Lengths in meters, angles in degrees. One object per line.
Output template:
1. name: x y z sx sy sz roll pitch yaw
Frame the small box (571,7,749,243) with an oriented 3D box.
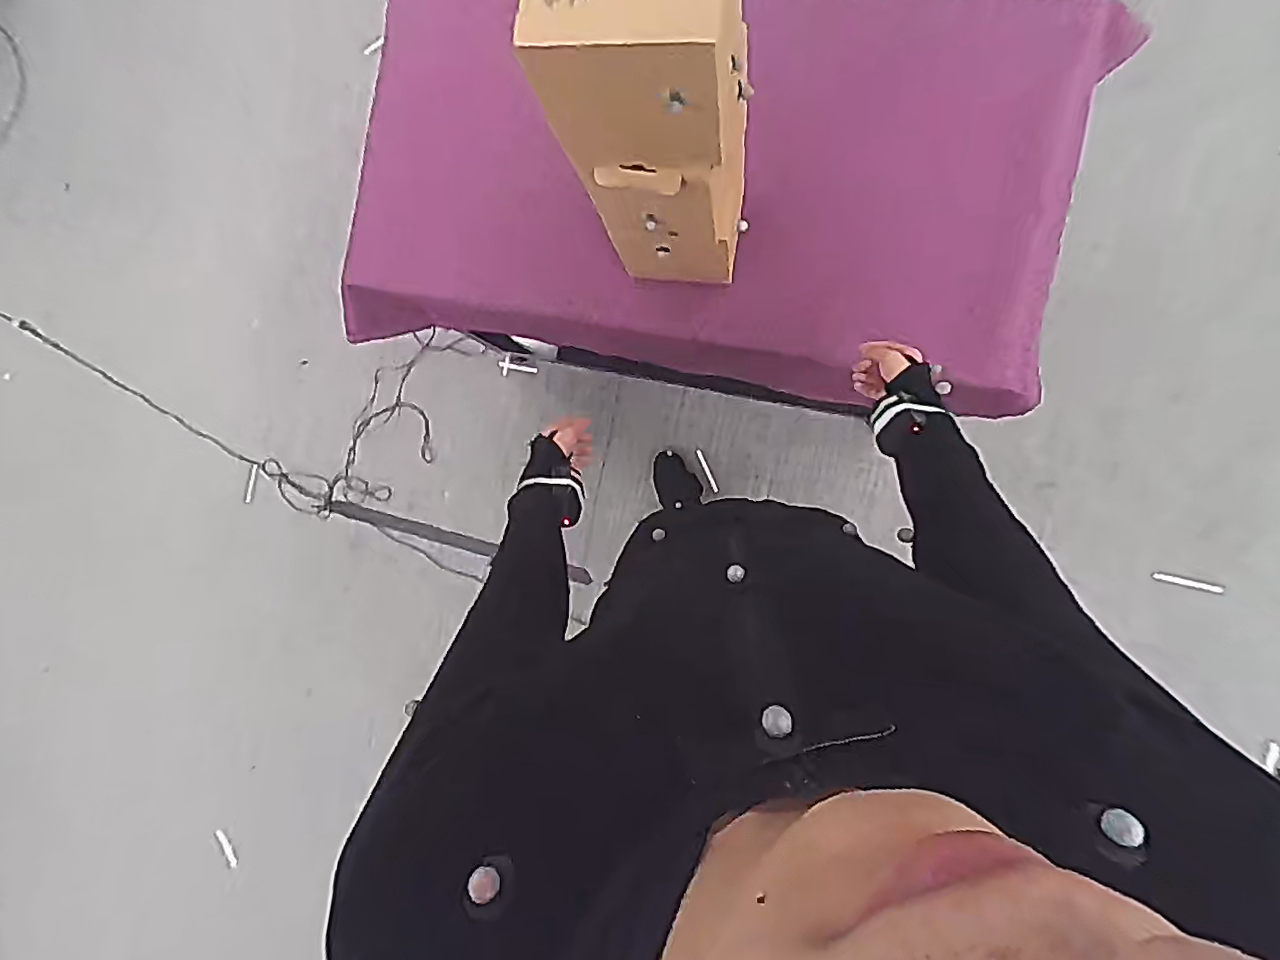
1. small box: 0.033 -0.428 0.675 0.168 0.176 0.179 14 92 11

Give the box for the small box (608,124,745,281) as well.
1. small box: 0.064 -0.422 0.837 0.179 0.176 0.168 8 91 10
